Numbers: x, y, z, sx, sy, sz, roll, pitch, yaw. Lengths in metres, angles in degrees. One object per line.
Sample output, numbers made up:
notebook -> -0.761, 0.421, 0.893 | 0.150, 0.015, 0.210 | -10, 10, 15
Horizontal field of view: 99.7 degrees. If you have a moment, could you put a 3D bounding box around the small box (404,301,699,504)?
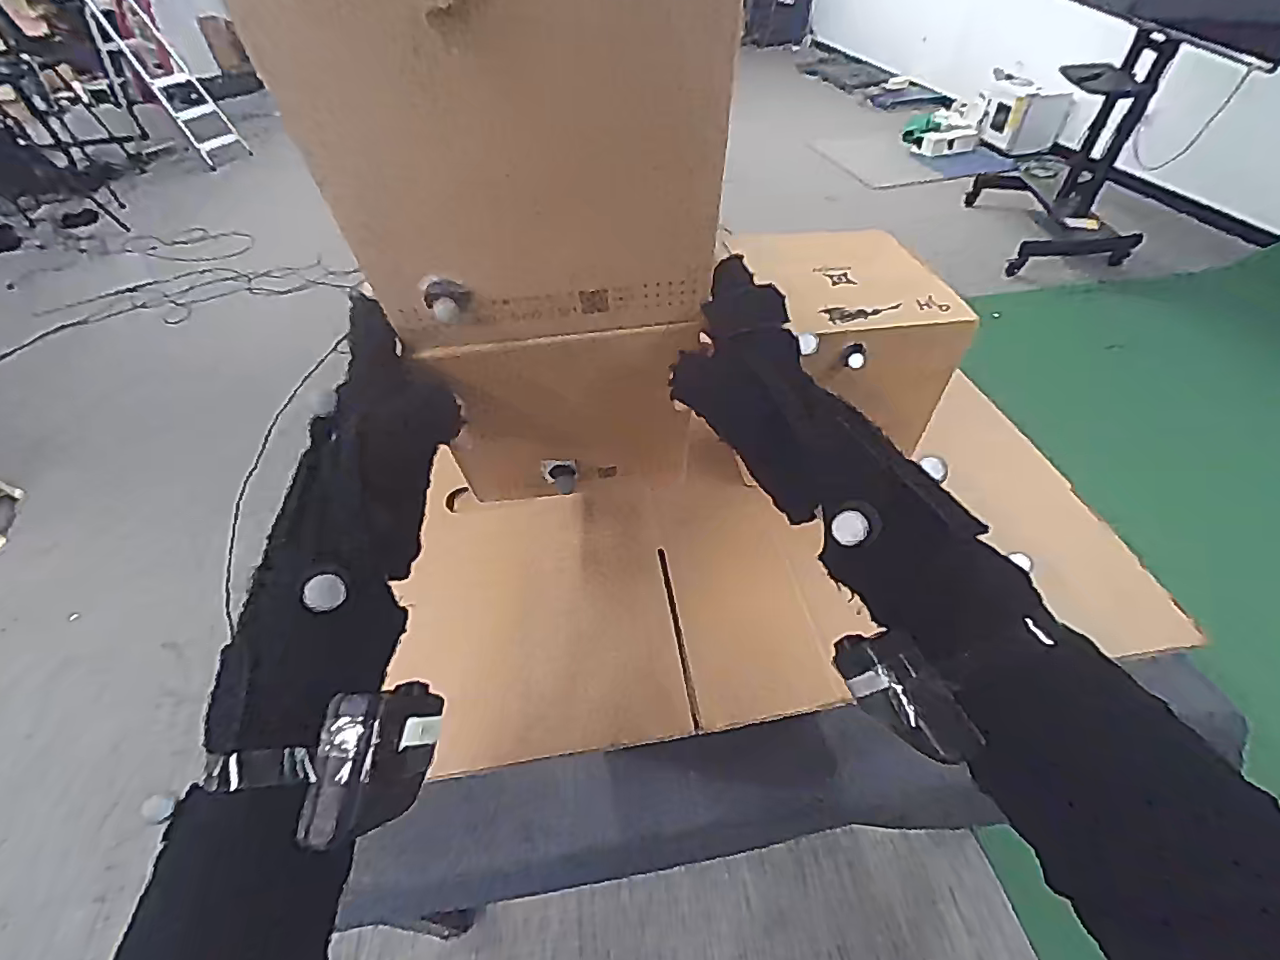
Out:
small box -> -0.059, -0.103, 0.408 | 0.168, 0.176, 0.179 | -8, 60, -4

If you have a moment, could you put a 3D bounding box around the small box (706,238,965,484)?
small box -> 0.166, -0.118, 0.534 | 0.168, 0.176, 0.179 | -6, 47, -5

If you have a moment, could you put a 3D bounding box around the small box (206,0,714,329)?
small box -> -0.060, -0.192, 0.269 | 0.168, 0.176, 0.179 | -7, 58, -3
